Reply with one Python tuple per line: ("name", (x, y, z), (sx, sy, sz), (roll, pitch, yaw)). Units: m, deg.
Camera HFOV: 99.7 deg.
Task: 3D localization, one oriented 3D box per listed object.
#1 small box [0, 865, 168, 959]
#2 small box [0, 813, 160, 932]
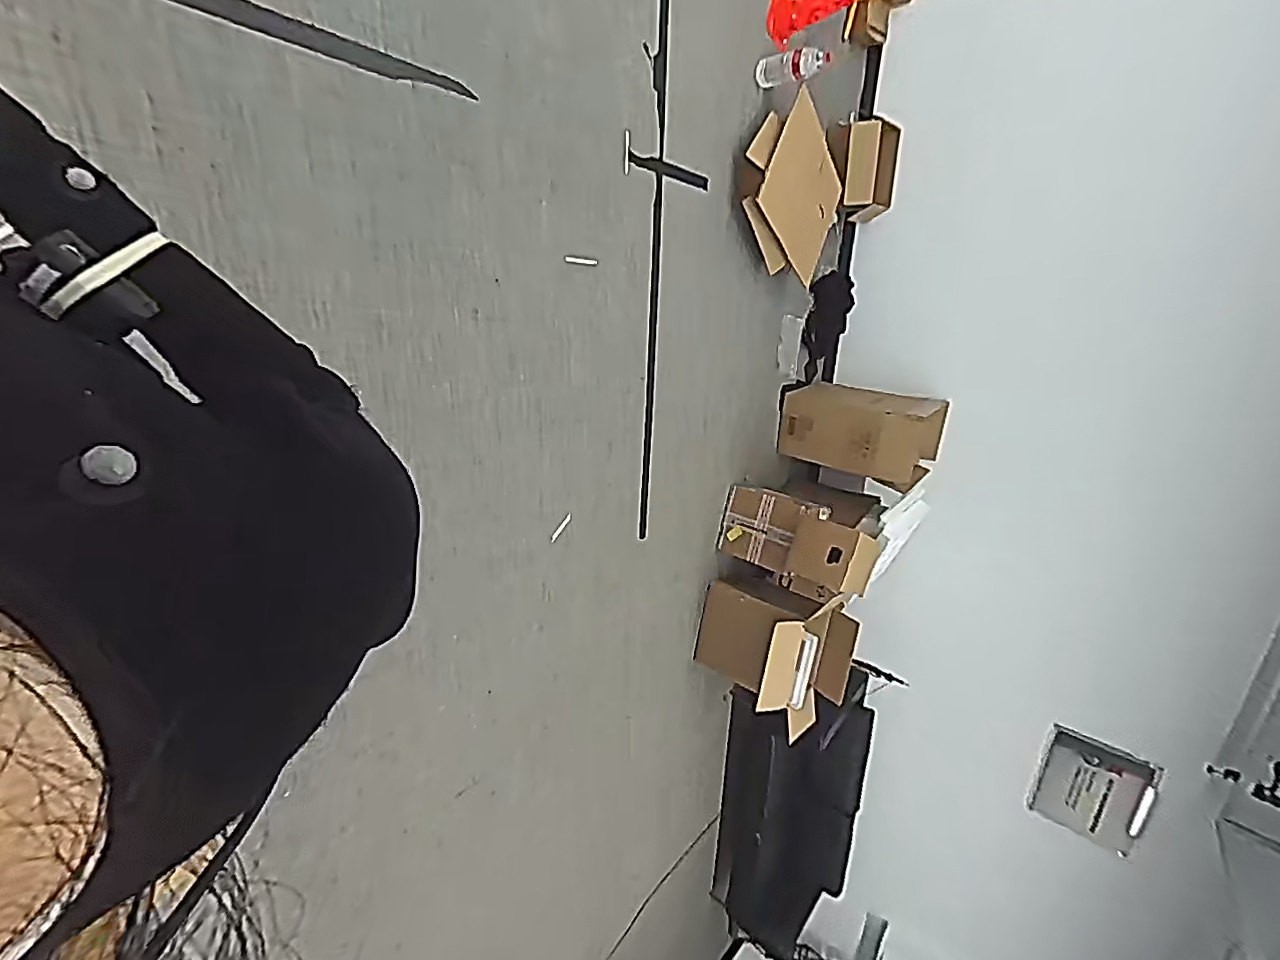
("small box", (-0.847, 0.755, 0.830), (0.168, 0.176, 0.179), (-18, 115, -47))
("small box", (-0.973, 0.728, 0.929), (0.179, 0.176, 0.168), (-19, 116, -46))
